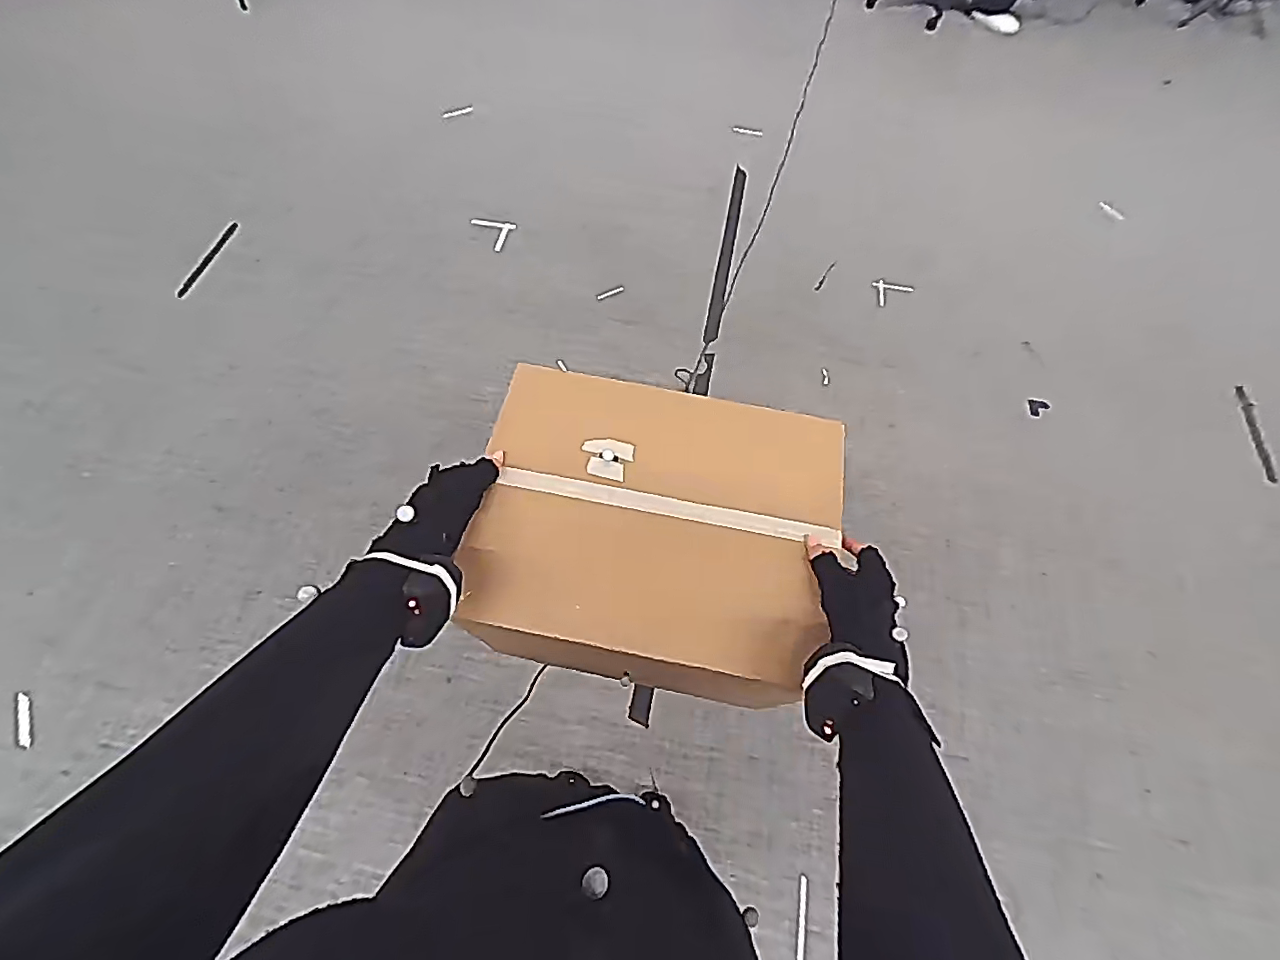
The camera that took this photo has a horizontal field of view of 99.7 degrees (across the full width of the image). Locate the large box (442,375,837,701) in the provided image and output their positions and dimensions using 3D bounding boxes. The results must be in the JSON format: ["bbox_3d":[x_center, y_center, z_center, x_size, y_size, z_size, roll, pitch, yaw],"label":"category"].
[{"bbox_3d":[0.016,0.099,0.740,0.408,0.320,0.320,11,64,4],"label":"large box"}]
